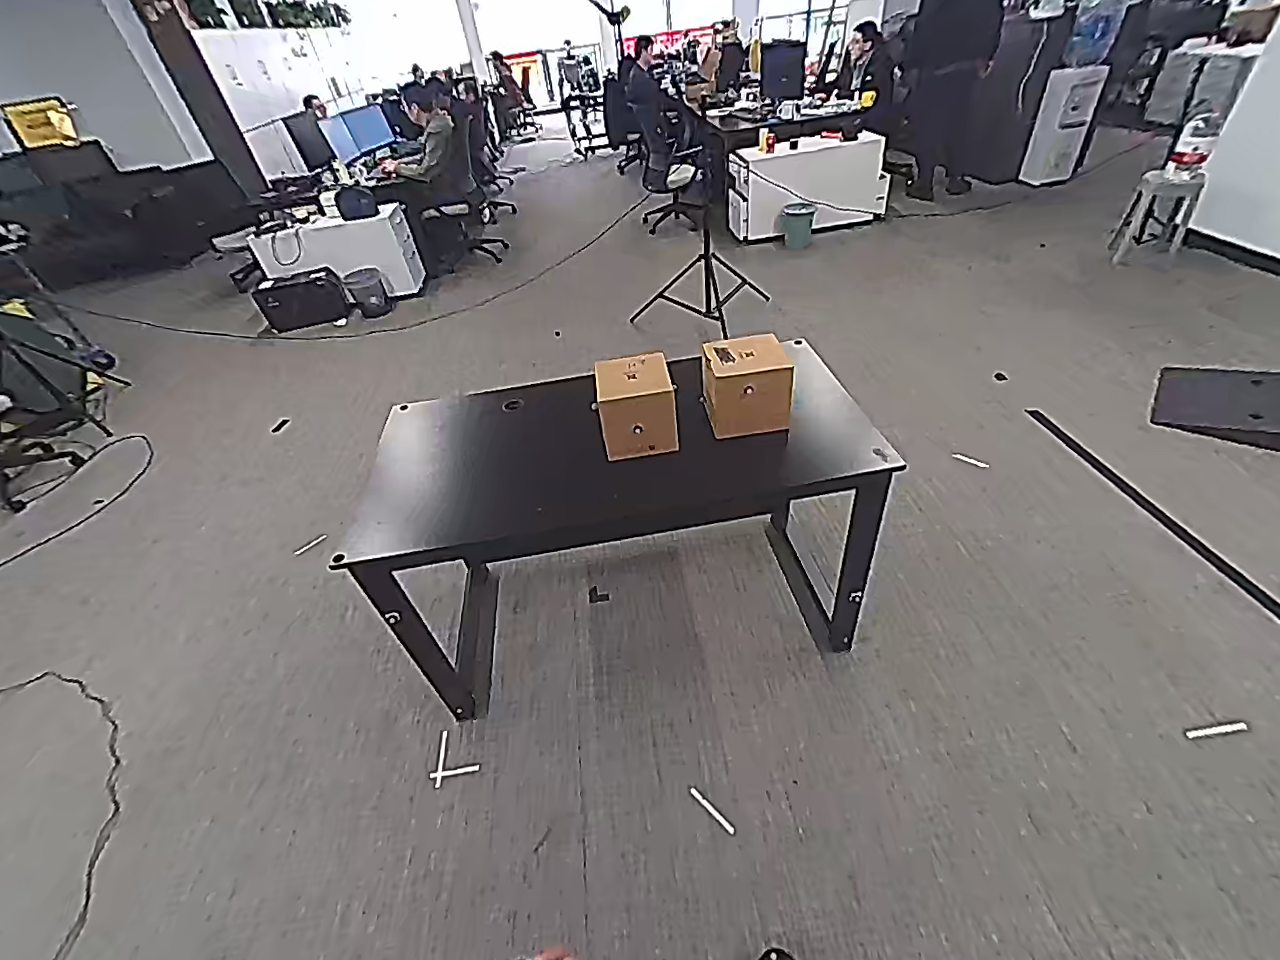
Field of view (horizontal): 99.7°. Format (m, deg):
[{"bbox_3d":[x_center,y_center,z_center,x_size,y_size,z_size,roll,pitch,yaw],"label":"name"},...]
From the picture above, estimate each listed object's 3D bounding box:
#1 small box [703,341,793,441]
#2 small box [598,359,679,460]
[{"bbox_3d":[0.253,-0.208,1.285,0.179,0.176,0.168,-8,40,0],"label":"small box"},{"bbox_3d":[-0.004,-0.159,1.275,0.168,0.176,0.179,-8,40,0],"label":"small box"}]
